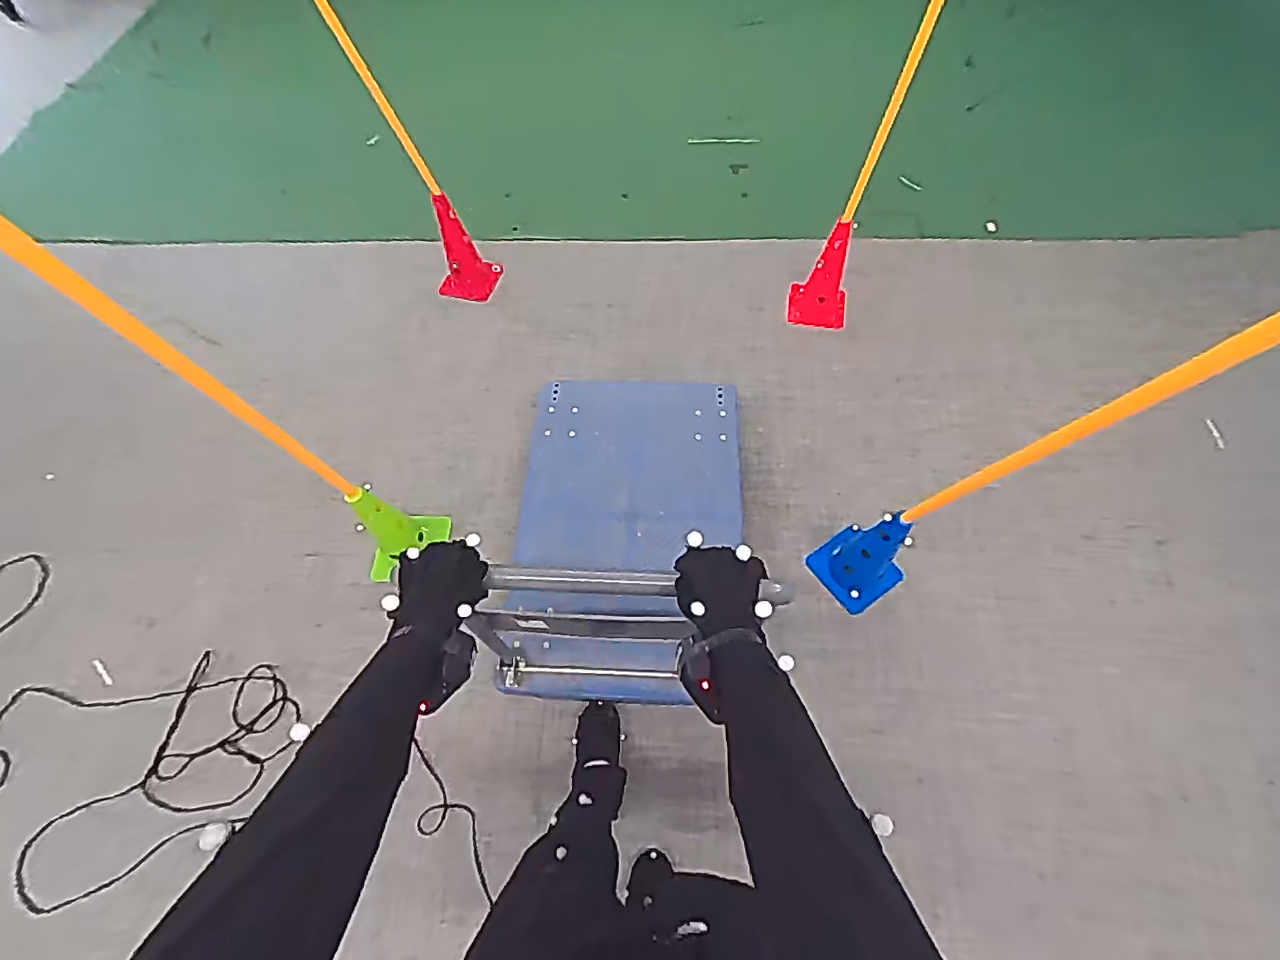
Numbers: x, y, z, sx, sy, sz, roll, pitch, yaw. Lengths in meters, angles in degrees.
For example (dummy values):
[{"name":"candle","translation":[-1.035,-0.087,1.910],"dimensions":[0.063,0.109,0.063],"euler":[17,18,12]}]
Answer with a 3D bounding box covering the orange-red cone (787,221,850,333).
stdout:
[{"name":"orange-red cone","translation":[0.627,-0.688,1.789],"dimensions":[0.198,0.360,0.199],"euler":[11,64,9]}]
